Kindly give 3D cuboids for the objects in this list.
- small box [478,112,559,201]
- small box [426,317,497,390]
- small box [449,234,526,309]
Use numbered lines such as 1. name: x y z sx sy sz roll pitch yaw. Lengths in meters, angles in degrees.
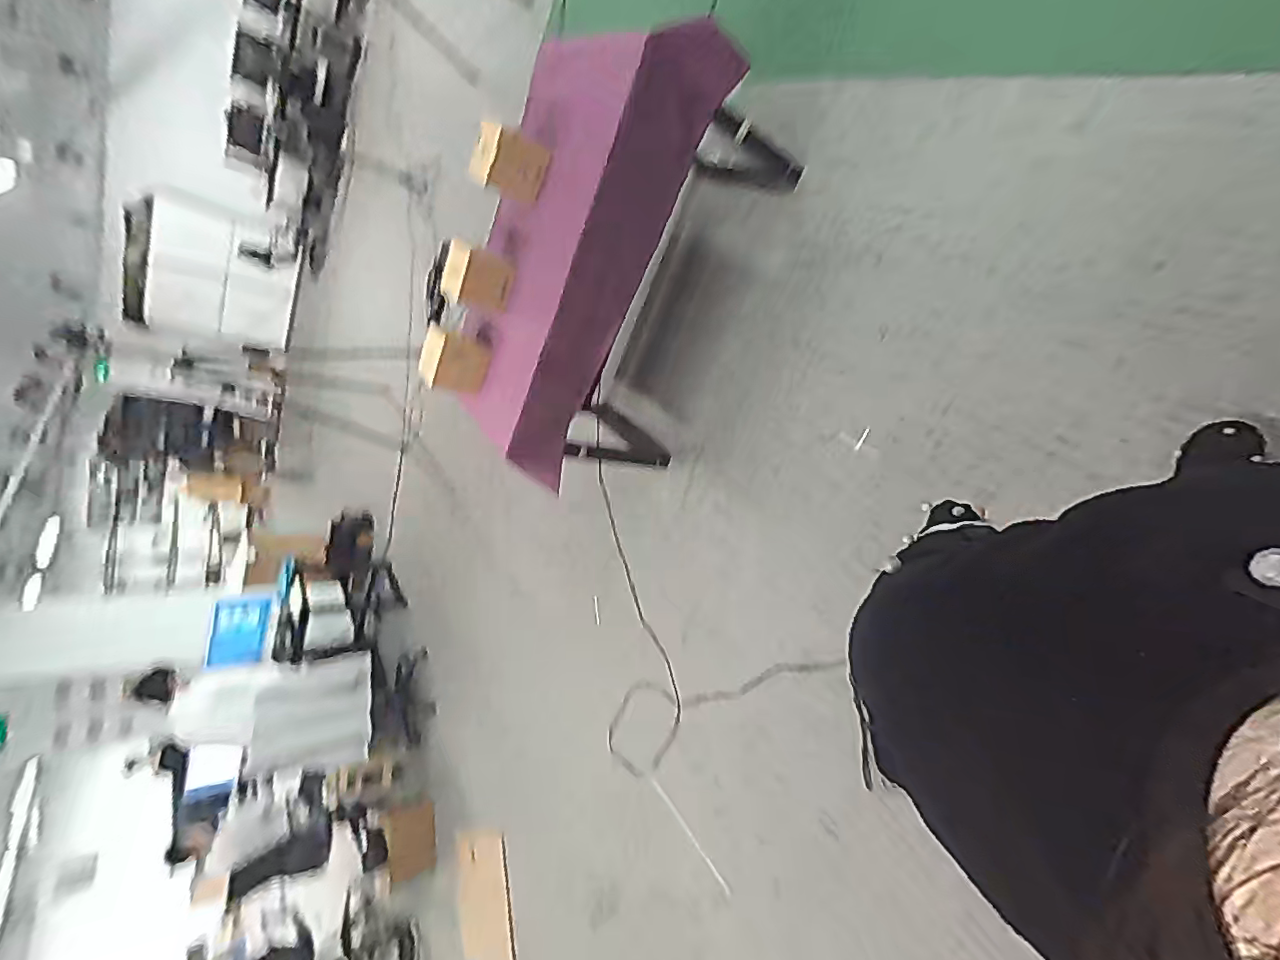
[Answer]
1. small box: -0.377 -1.000 1.682 0.179 0.176 0.168 51 121 38
2. small box: -0.618 -0.438 1.885 0.168 0.176 0.179 45 118 42
3. small box: -0.507 -0.687 1.794 0.179 0.176 0.168 45 118 41
